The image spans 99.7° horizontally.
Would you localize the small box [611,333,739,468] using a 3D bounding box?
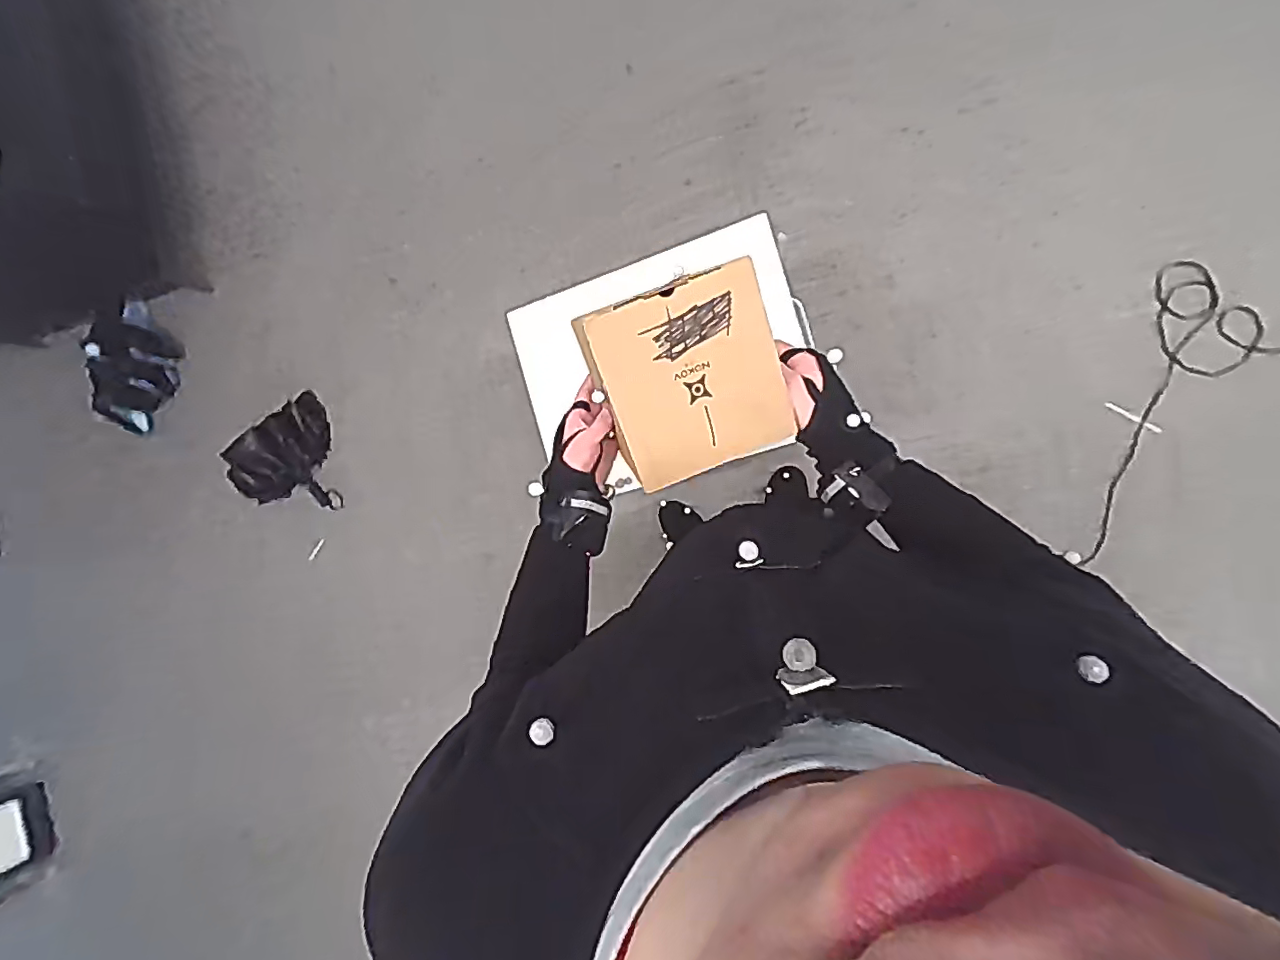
[{"bbox_3d":[0.067,-0.121,0.895,0.168,0.176,0.179,-13,87,11],"label":"small box"}]
